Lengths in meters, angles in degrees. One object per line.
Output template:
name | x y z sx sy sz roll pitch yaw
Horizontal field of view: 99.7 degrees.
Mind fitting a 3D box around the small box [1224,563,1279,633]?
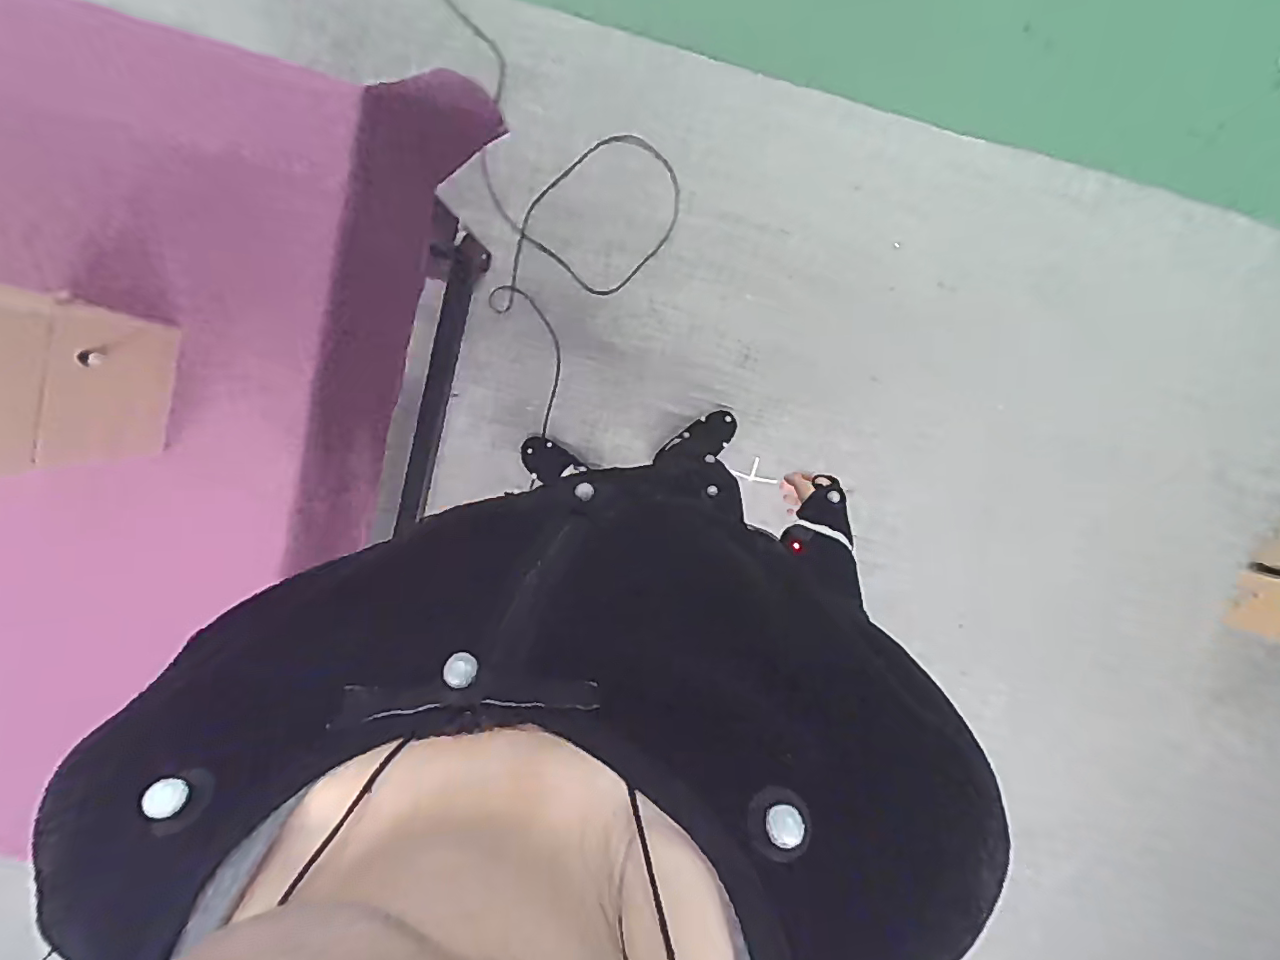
small box | 1.829 0.346 1.514 0.179 0.176 0.168 14 98 -2

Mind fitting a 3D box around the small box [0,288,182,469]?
small box | -0.709 -0.126 0.654 0.168 0.176 0.179 16 98 -3
